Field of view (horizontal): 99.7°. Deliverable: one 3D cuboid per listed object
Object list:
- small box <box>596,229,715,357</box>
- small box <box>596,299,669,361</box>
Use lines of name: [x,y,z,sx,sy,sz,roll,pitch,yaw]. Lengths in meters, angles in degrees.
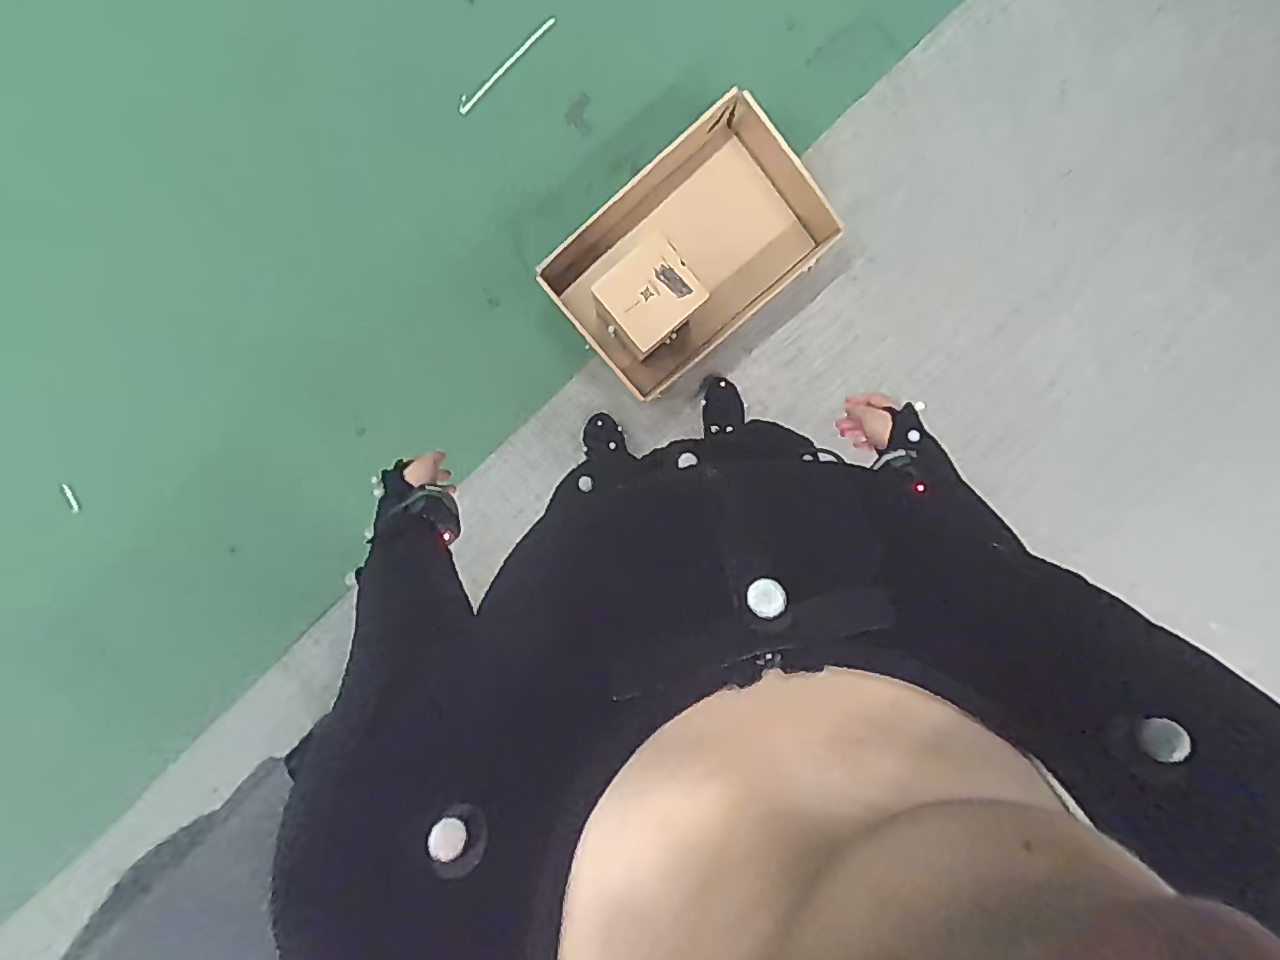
small box: [0.025,-0.374,1.116,0.179,0.176,0.168,-40,97,4]
small box: [0.017,-0.400,1.278,0.179,0.176,0.168,-41,98,3]
